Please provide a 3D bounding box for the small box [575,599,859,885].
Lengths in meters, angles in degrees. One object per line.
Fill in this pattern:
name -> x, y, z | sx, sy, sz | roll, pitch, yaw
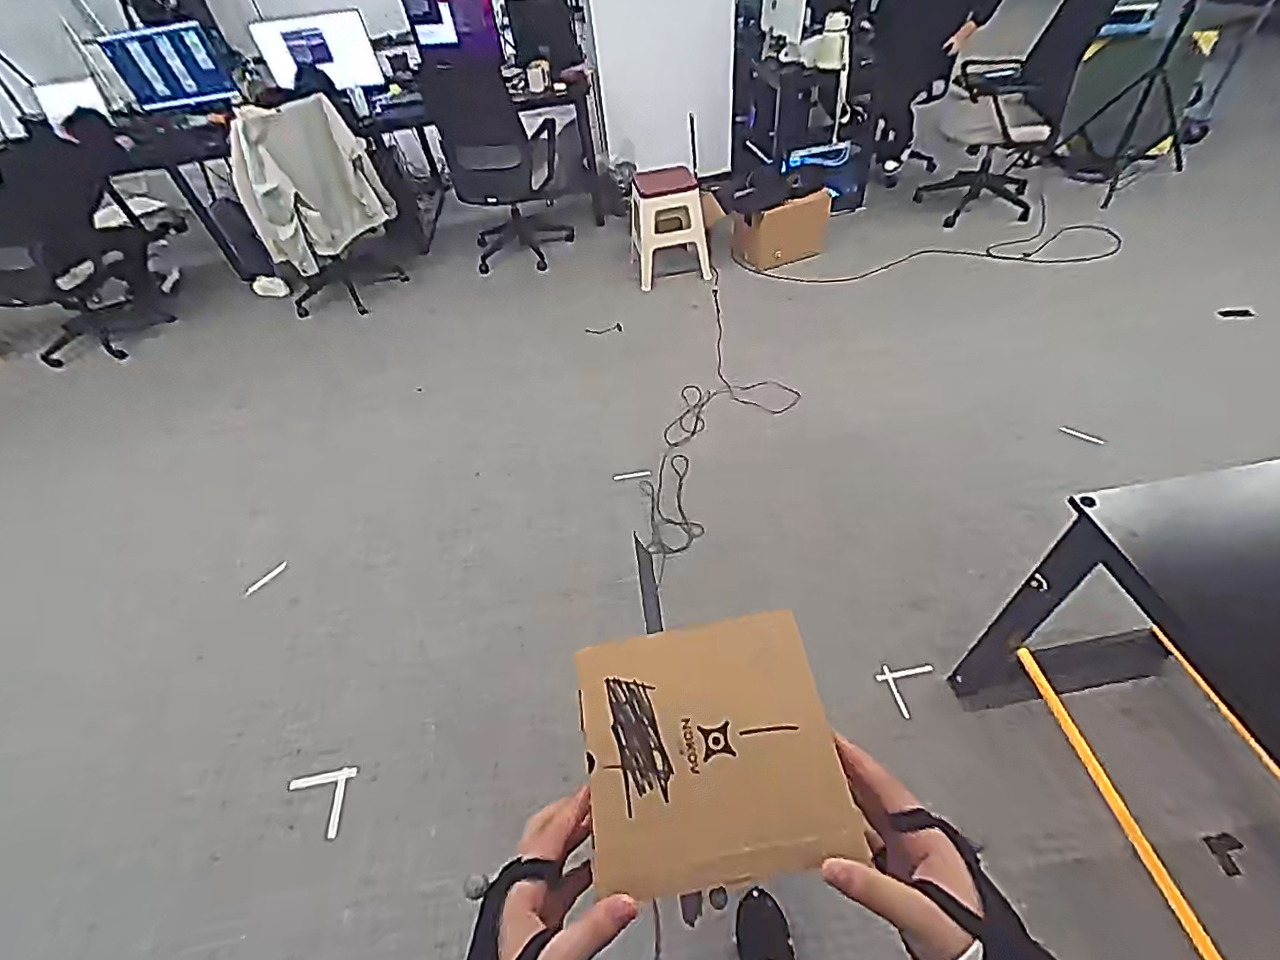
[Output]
small box -> 0.055, 0.220, 0.452 | 0.179, 0.176, 0.168 | -12, 57, 2
